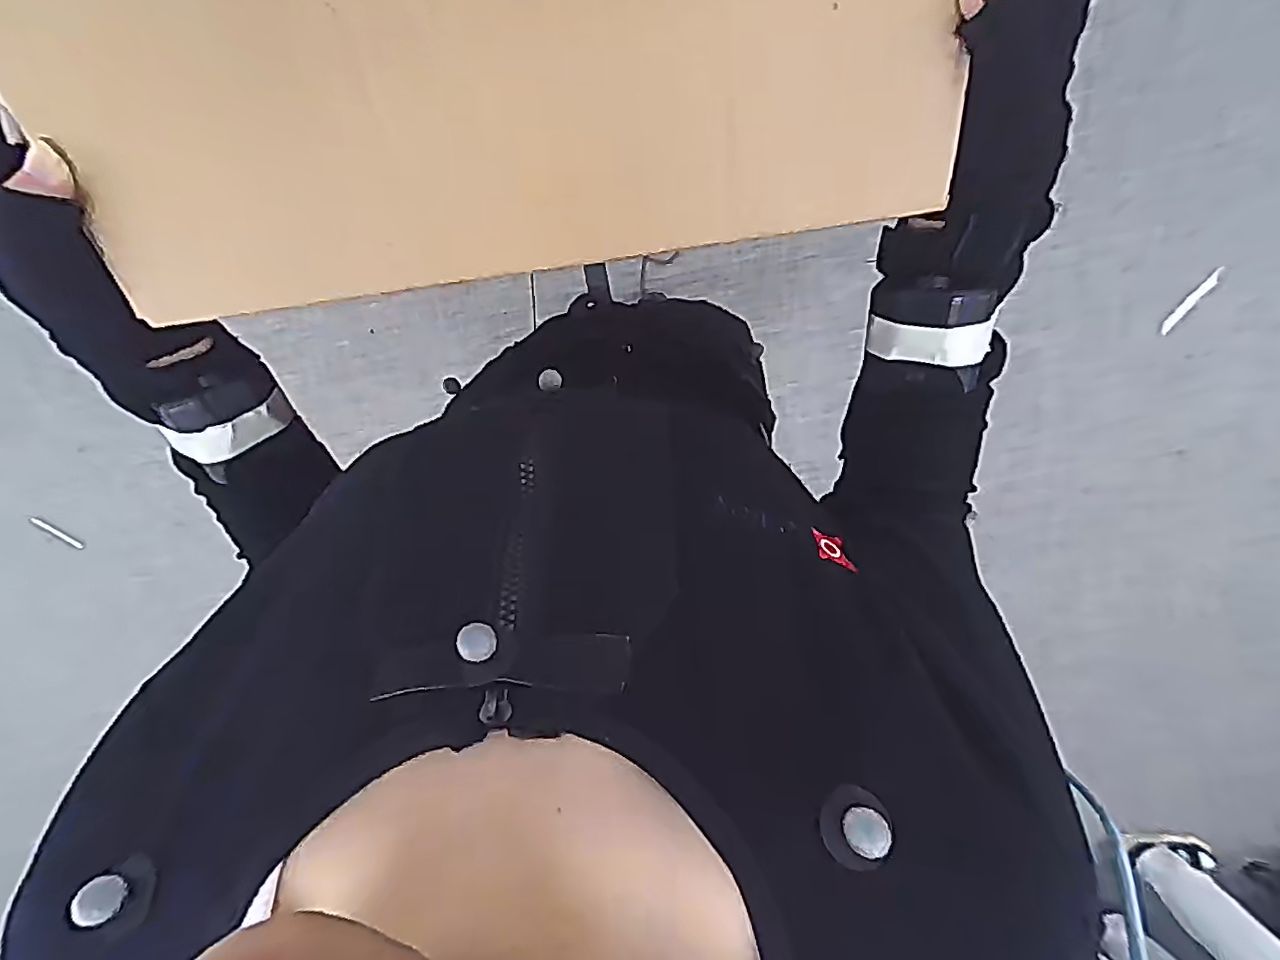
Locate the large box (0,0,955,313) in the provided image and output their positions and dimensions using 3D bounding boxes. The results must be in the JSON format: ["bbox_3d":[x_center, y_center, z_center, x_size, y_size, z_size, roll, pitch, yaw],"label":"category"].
[{"bbox_3d":[-0.078,-0.321,0.325,0.408,0.320,0.320,-7,123,4],"label":"large box"}]
